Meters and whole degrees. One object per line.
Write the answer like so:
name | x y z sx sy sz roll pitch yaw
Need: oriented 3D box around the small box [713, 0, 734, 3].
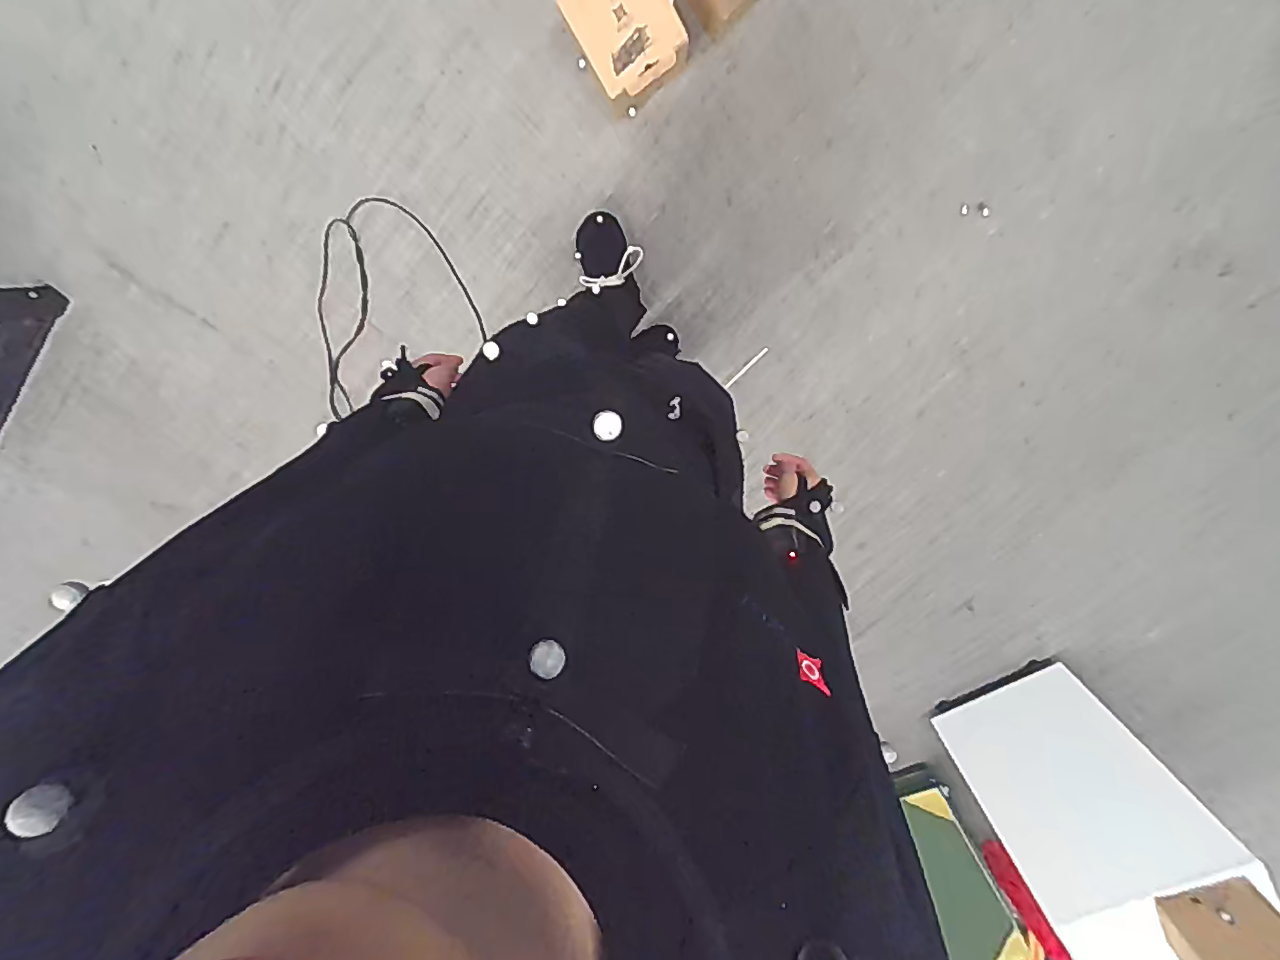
small box | 0.141 -0.862 0.797 0.168 0.176 0.179 -39 106 17

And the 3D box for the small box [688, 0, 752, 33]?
small box | 0.145 -0.942 0.940 0.168 0.176 0.179 -39 106 16
